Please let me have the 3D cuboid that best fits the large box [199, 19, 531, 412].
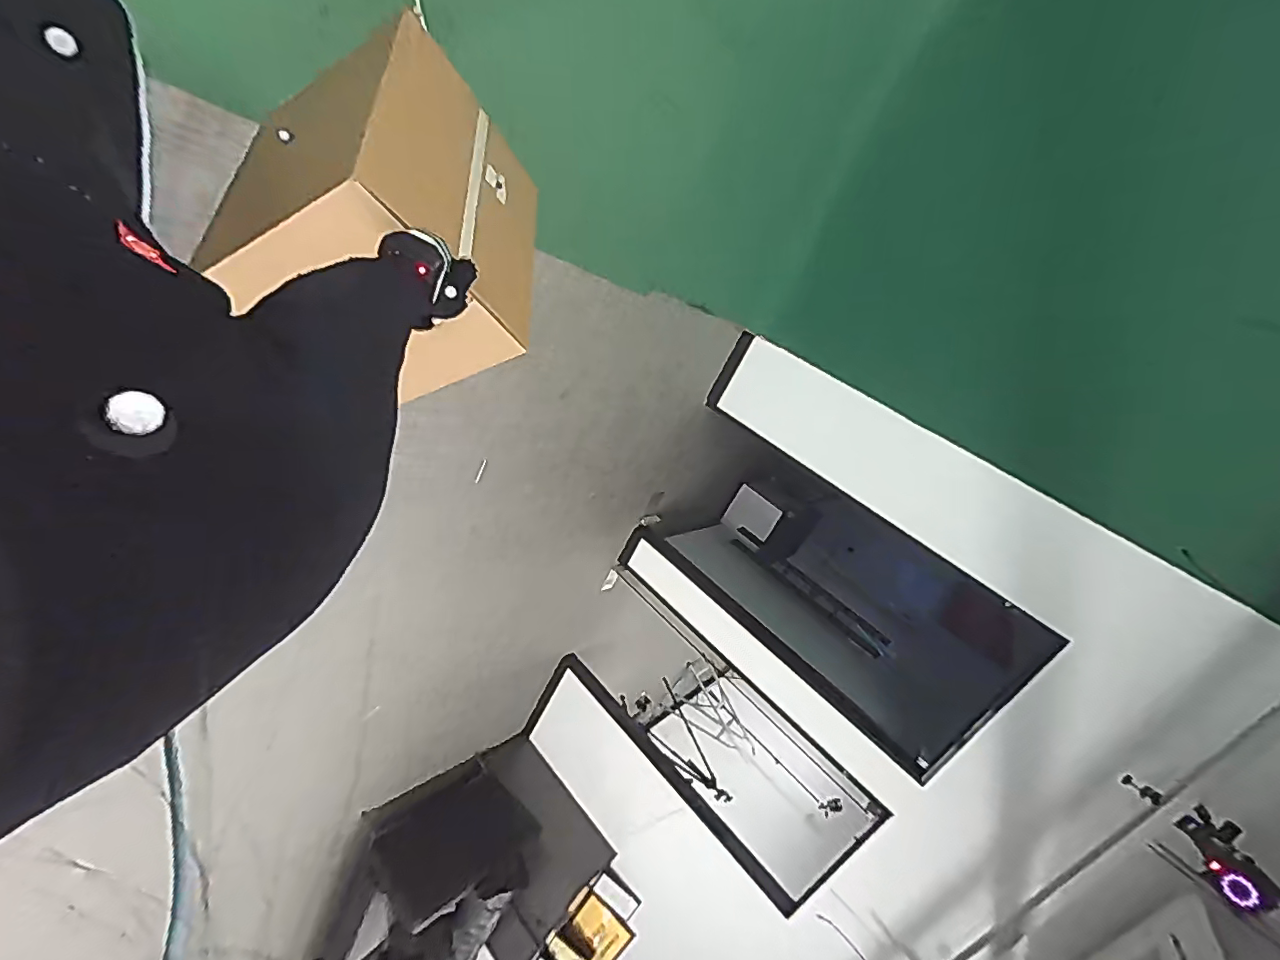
[{"bbox_3d":[-0.388,-0.384,0.850,0.320,0.408,0.320,-17,149,20],"label":"large box"}]
